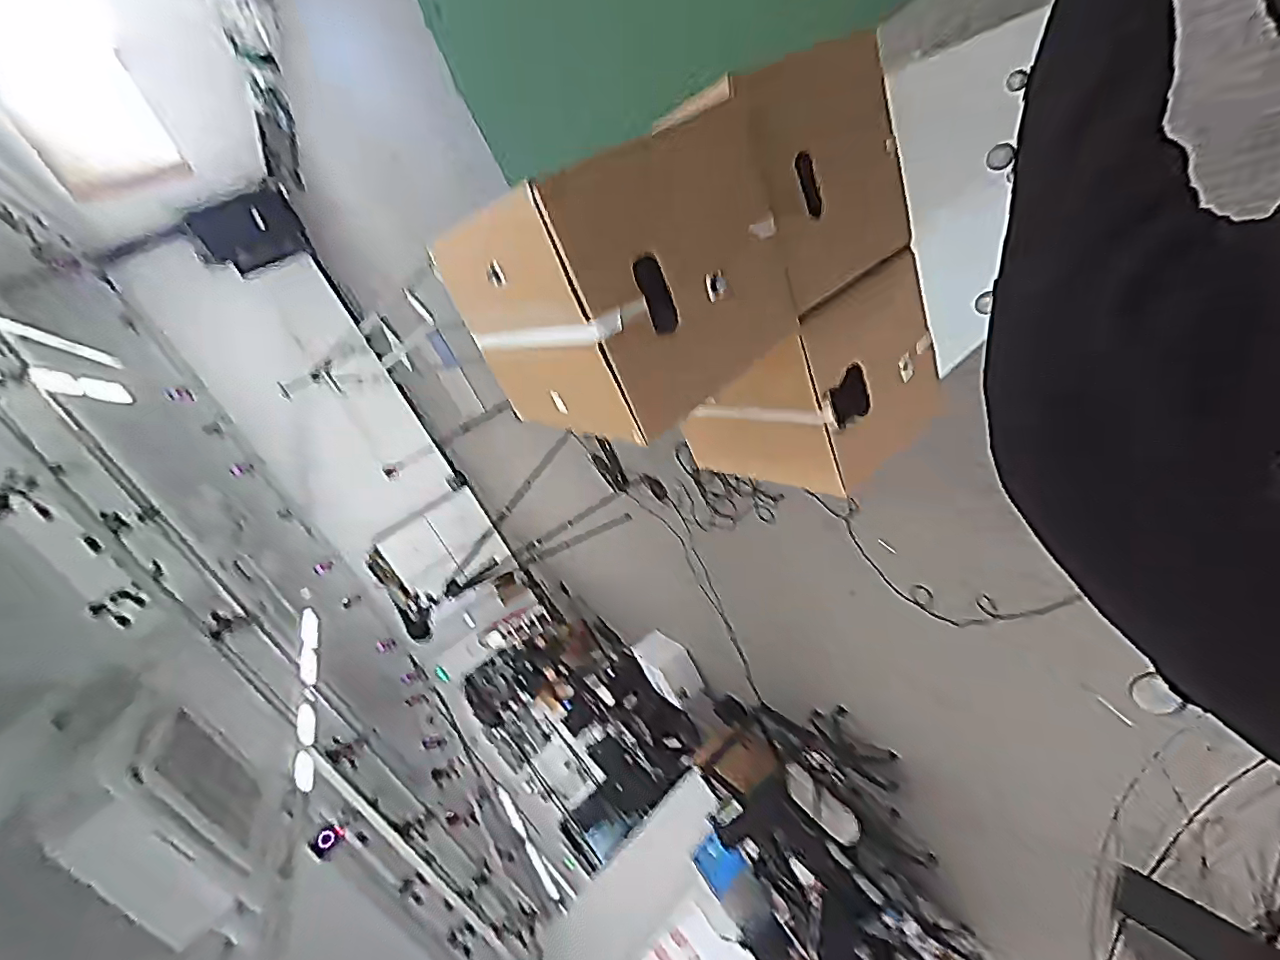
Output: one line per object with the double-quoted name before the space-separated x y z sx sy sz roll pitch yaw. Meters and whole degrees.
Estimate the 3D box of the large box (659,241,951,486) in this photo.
"large box" 0.312 -0.221 1.065 0.408 0.320 0.320 16 136 58
